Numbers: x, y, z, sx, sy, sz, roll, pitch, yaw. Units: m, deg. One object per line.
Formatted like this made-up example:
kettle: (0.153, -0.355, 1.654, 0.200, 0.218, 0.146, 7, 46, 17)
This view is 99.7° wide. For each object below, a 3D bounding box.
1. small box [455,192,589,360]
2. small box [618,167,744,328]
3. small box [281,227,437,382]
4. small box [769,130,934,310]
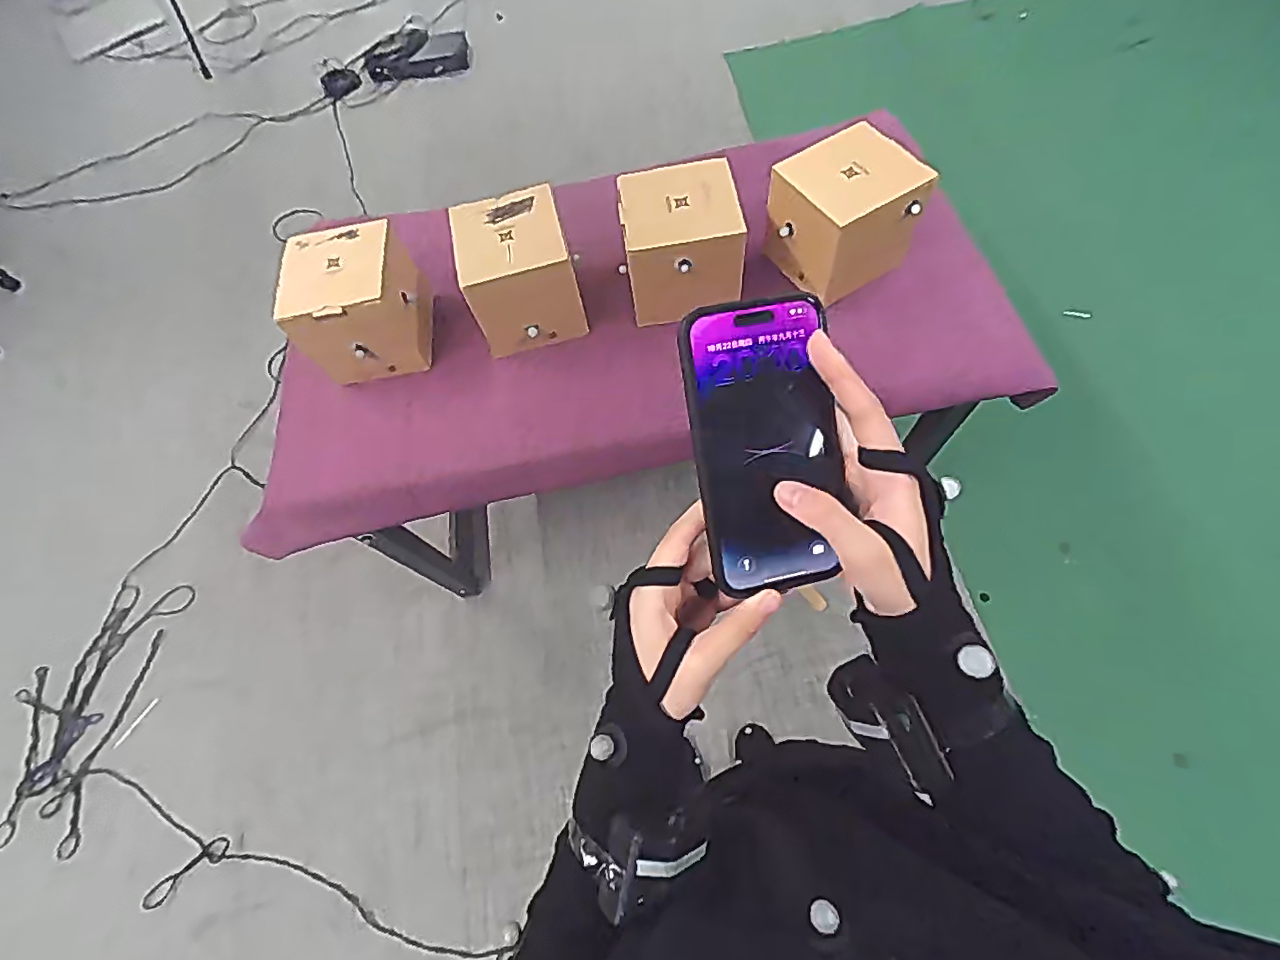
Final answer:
small box: (-0.189, -0.330, 0.893, 0.168, 0.176, 0.179, -15, 64, 0)
small box: (0.067, -0.369, 0.883, 0.179, 0.176, 0.168, -7, 65, 3)
small box: (-0.453, -0.280, 0.901, 0.168, 0.176, 0.179, -10, 65, 2)
small box: (0.322, -0.410, 0.870, 0.179, 0.176, 0.168, -30, 64, -8)
